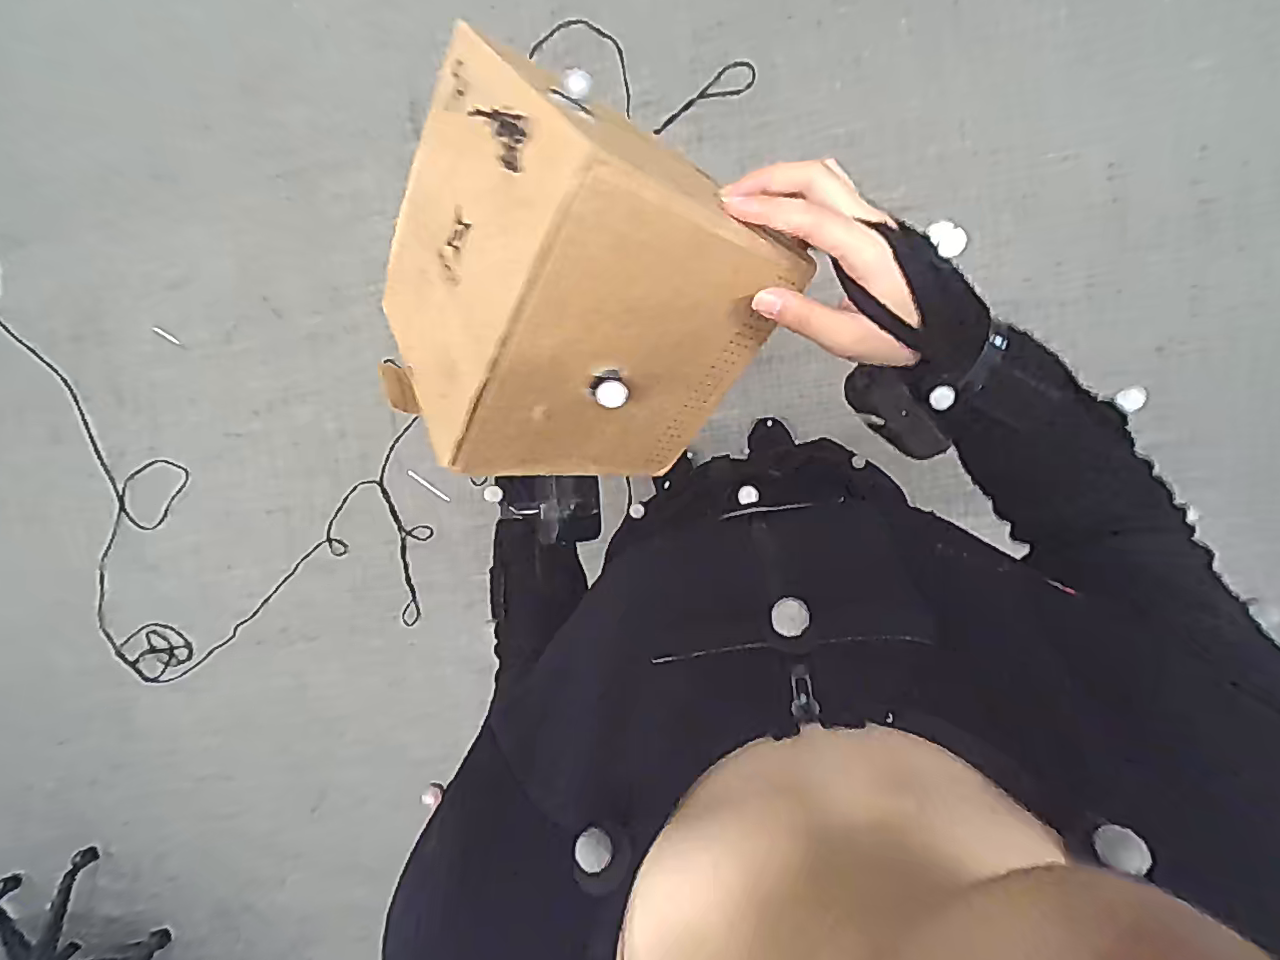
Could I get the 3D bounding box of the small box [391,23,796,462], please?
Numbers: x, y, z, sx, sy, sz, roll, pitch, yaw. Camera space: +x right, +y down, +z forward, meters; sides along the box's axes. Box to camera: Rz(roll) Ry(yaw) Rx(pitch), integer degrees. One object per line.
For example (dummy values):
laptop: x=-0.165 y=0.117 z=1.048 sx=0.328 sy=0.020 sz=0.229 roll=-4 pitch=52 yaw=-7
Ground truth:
small box: x=-0.039 y=-0.125 z=0.344 sx=0.179 sy=0.176 sz=0.168 roll=-55 pitch=52 yaw=34
